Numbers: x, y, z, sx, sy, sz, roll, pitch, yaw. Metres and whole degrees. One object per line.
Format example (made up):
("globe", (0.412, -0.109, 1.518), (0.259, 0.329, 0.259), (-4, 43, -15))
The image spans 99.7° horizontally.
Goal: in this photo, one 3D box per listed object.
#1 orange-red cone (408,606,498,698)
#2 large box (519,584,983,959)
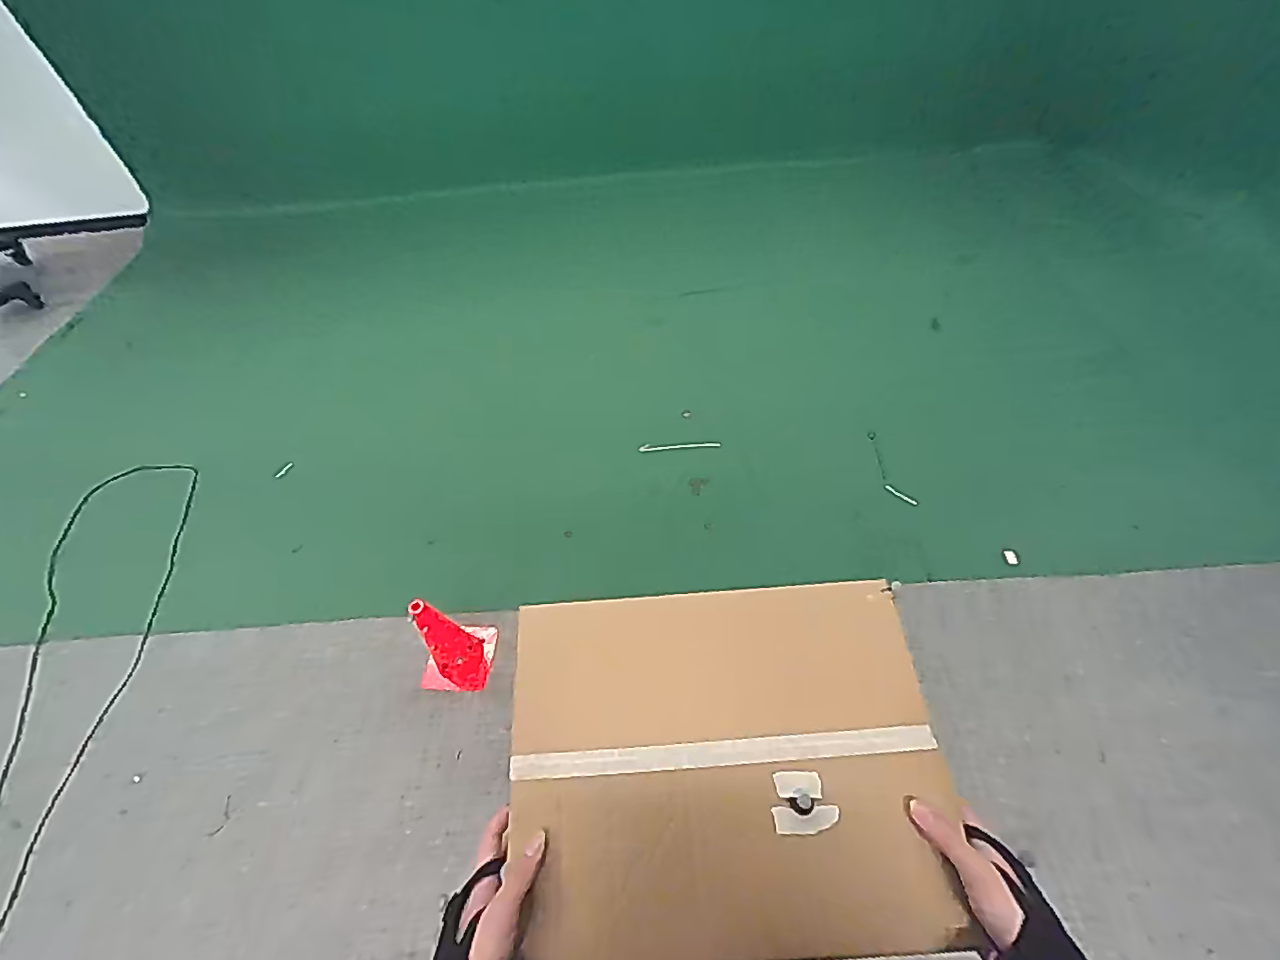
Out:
("orange-red cone", (-0.562, 0.453, 1.518), (0.199, 0.360, 0.198), (0, 51, 8))
("large box", (0.087, 0.341, 0.654), (0.408, 0.320, 0.320), (-5, 61, 0))
